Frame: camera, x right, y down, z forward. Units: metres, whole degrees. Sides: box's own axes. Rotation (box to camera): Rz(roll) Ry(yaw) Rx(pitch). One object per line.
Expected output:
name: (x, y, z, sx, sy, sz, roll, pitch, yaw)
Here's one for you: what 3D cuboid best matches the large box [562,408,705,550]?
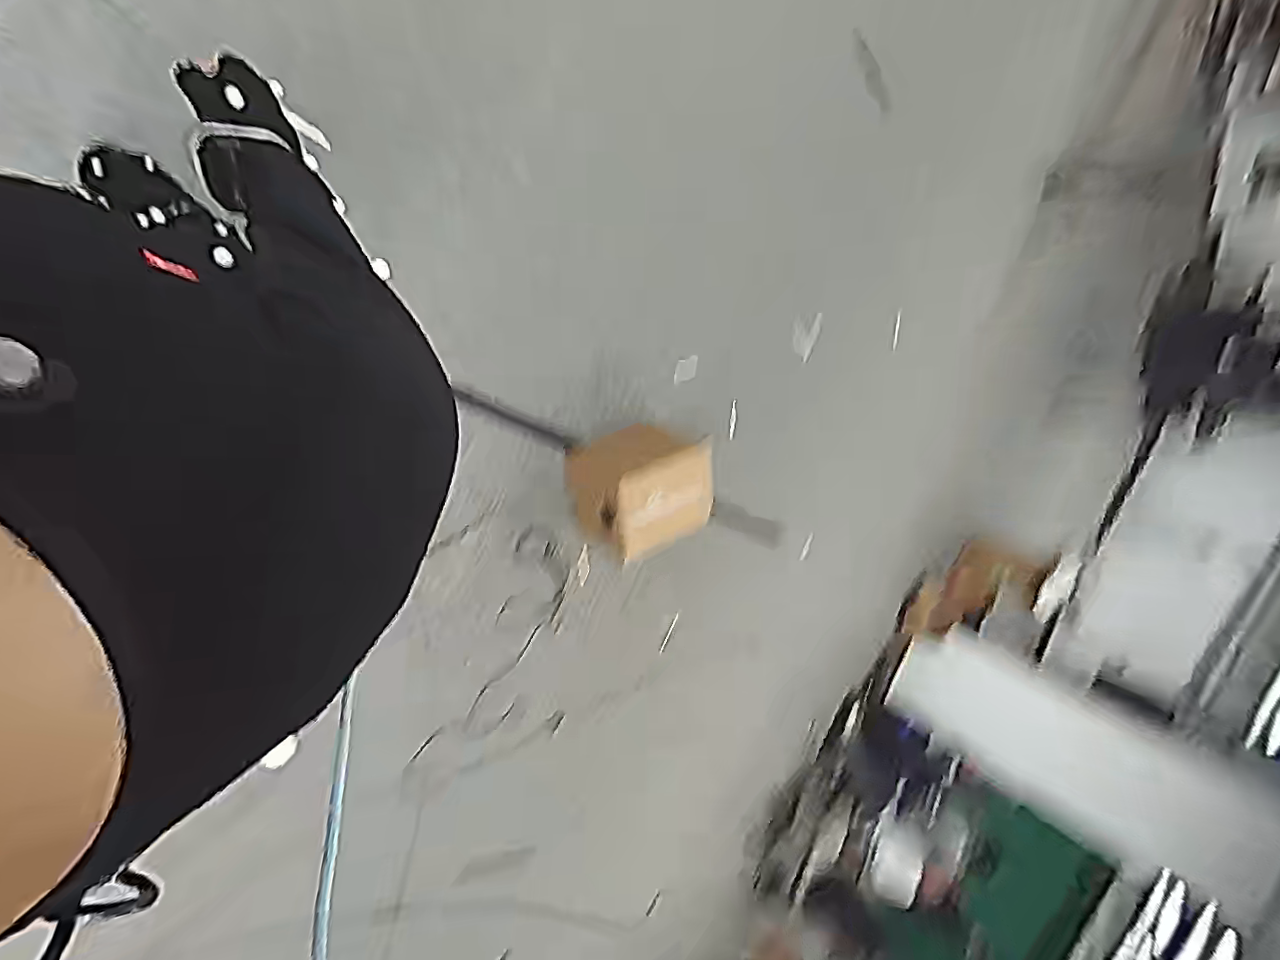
large box: (-0.017, -0.022, 1.929, 0.408, 0.320, 0.320, -25, 125, -31)
